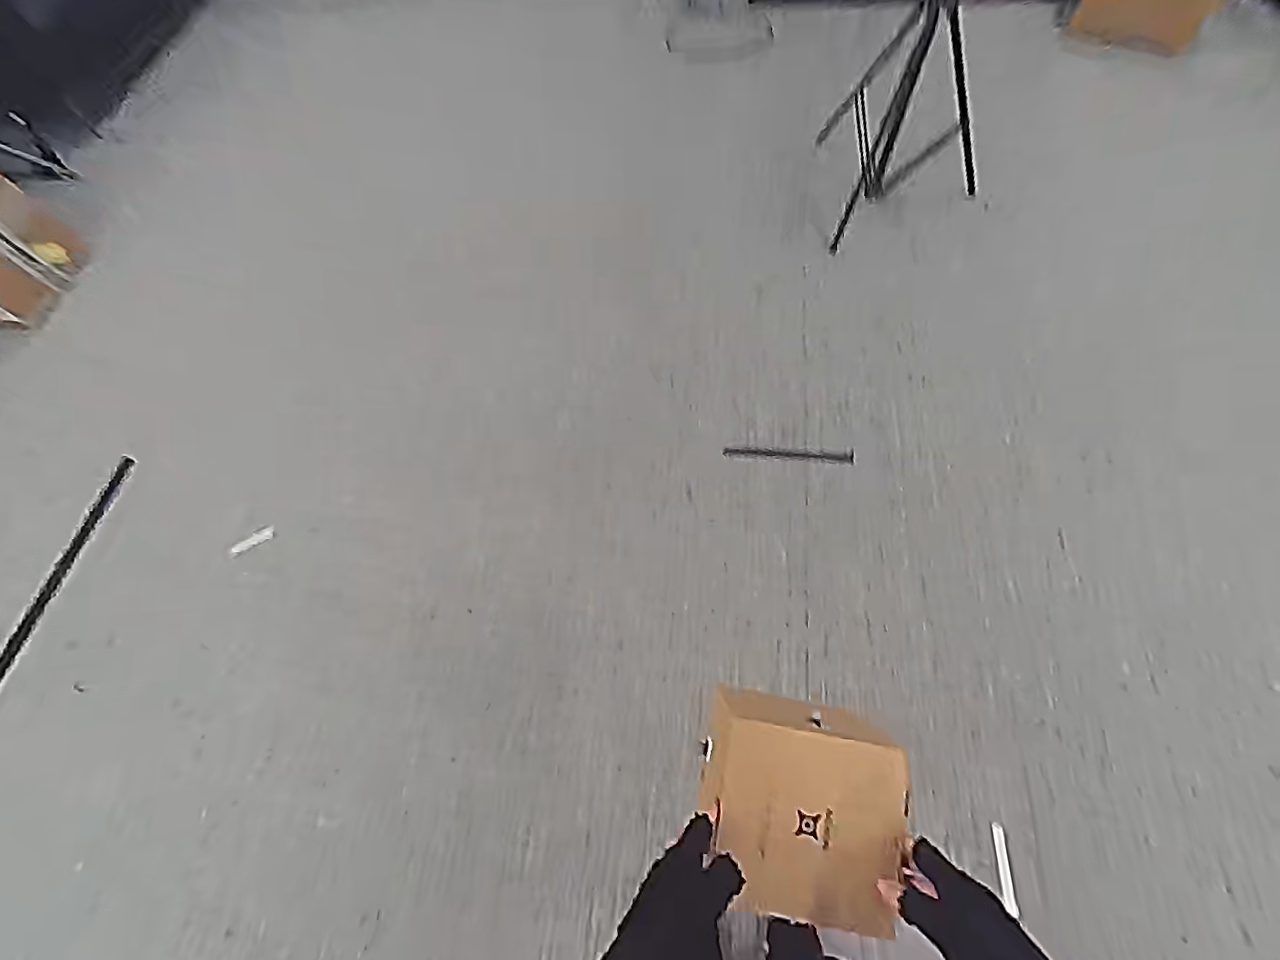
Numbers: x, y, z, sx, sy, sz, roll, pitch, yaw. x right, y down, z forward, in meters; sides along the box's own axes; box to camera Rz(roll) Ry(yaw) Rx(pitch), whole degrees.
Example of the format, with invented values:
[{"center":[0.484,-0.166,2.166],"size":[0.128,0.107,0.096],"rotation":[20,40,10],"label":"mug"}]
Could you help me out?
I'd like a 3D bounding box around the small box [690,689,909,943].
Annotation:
[{"center":[0.156,0.335,0.578],"size":[0.179,0.176,0.168],"rotation":[10,79,3],"label":"small box"}]
